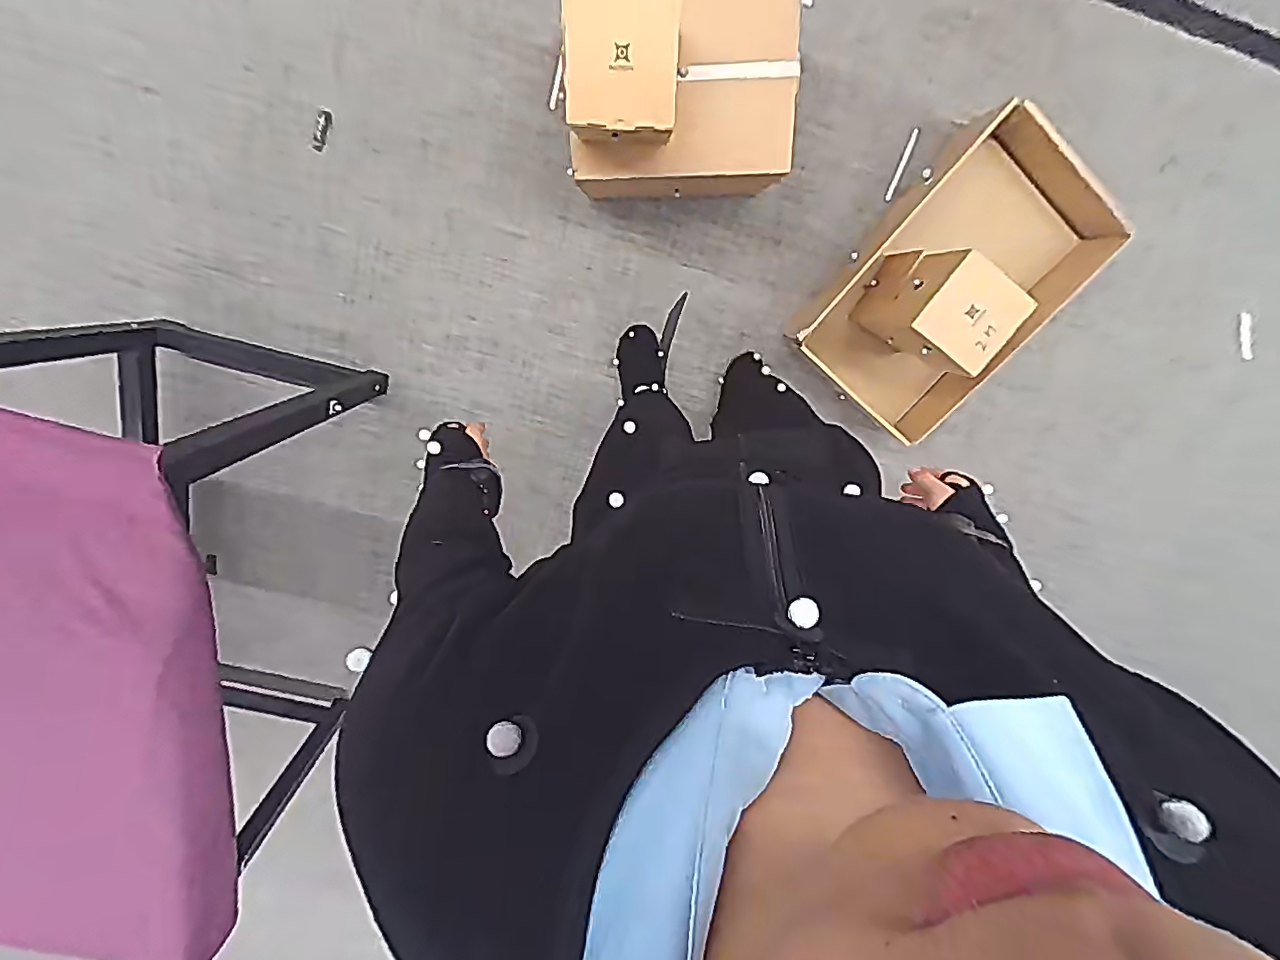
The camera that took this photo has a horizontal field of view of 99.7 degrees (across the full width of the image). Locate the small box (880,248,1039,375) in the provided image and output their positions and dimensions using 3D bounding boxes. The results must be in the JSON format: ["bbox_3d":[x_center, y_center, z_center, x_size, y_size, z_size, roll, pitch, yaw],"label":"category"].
[{"bbox_3d":[0.620,-0.332,1.075,0.179,0.176,0.168,33,105,-12],"label":"small box"}]
